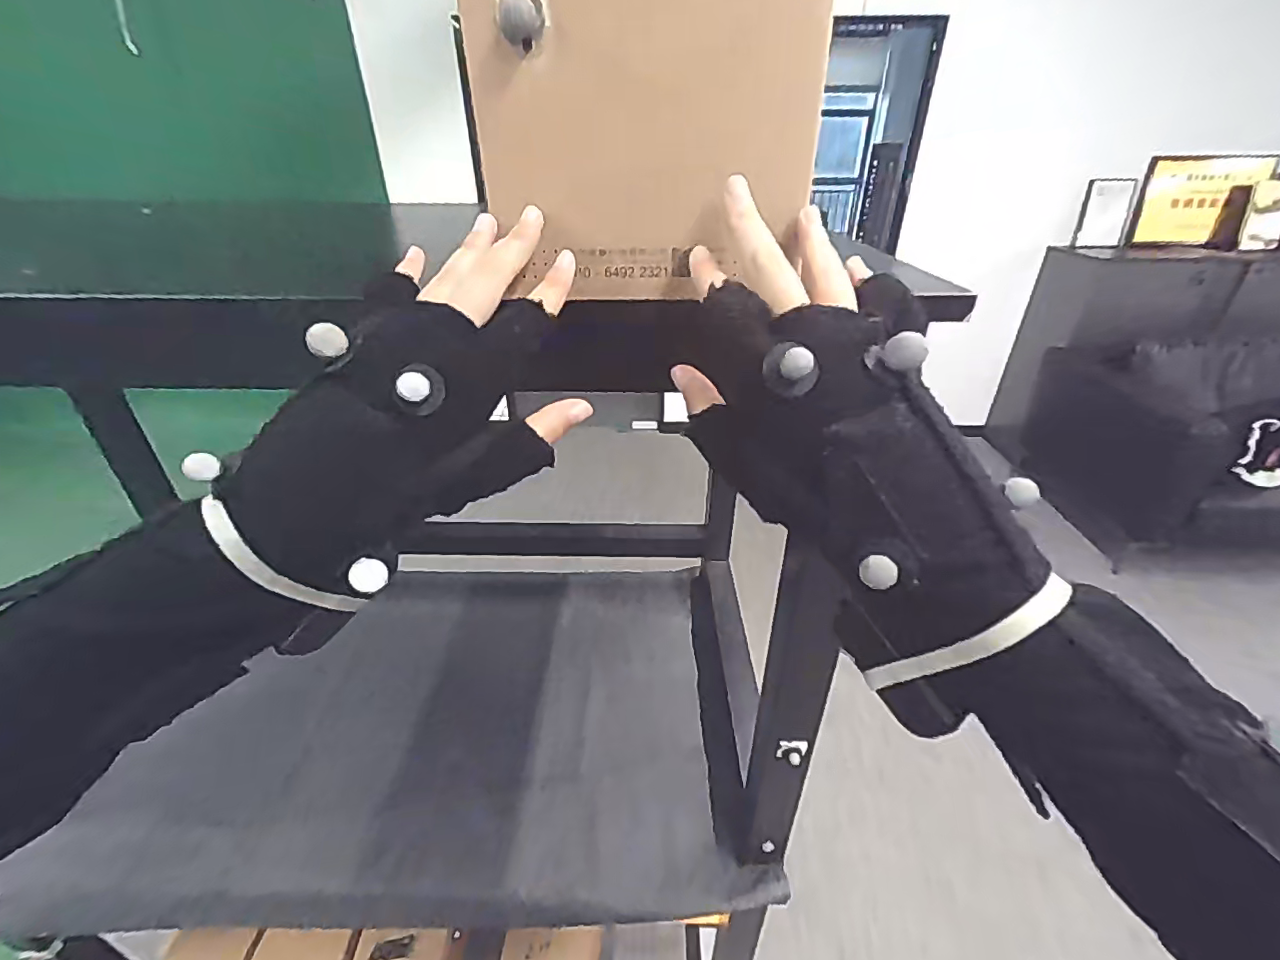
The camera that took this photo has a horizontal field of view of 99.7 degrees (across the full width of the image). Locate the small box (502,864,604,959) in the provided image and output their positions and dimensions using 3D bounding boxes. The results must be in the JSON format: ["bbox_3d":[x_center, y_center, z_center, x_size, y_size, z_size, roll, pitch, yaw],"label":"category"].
[{"bbox_3d":[-0.167,0.922,1.094,0.168,0.176,0.179,2,34,5],"label":"small box"}]
